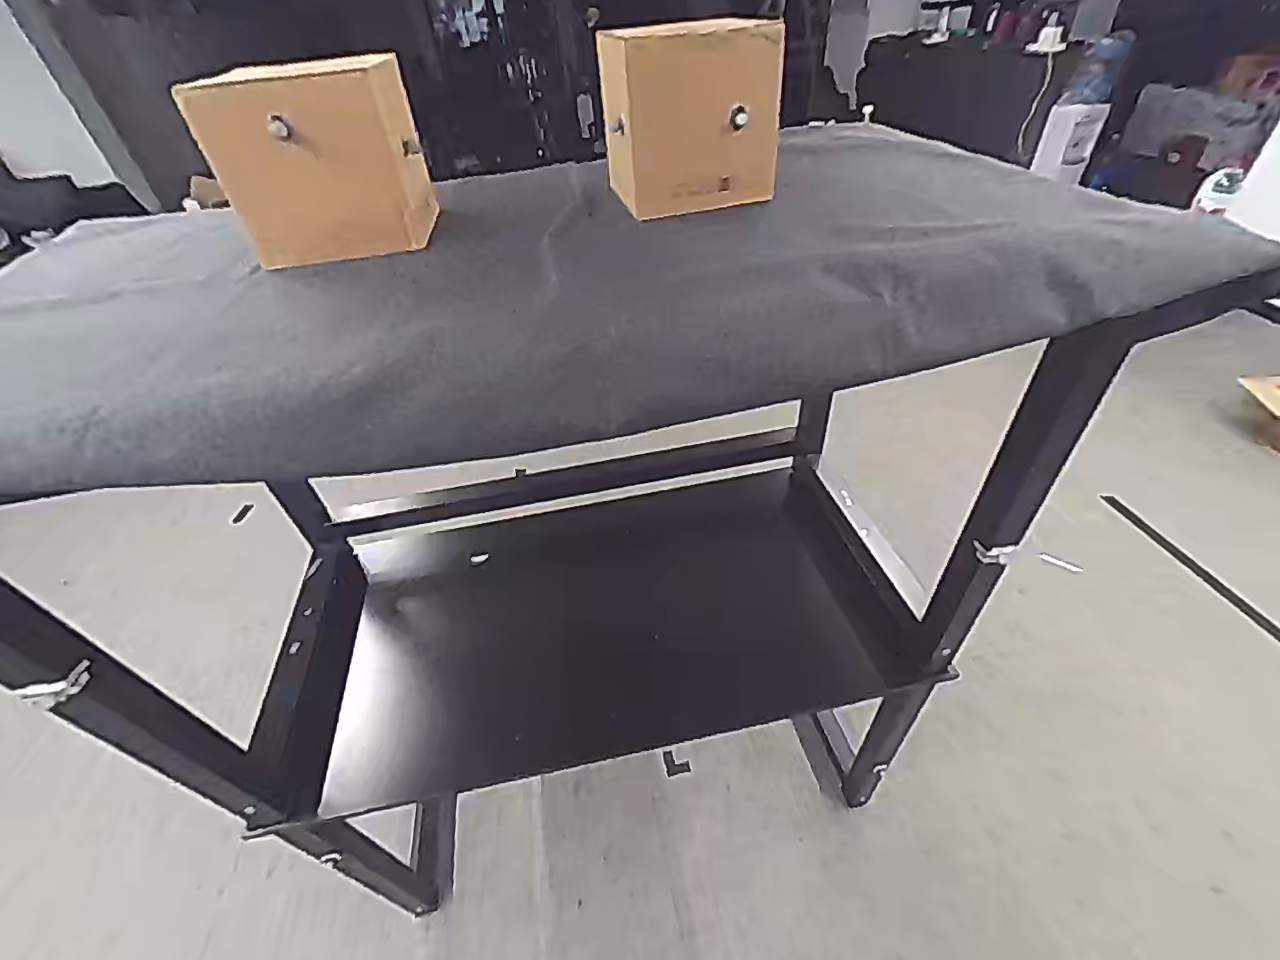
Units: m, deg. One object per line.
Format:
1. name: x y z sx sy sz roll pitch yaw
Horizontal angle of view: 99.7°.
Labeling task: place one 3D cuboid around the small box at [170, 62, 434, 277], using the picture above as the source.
1. small box: -0.347 -0.347 0.605 0.179 0.176 0.168 -10 42 -4

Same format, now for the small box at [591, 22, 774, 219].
1. small box: 0.045 -0.422 0.641 0.168 0.176 0.179 -12 42 -7
